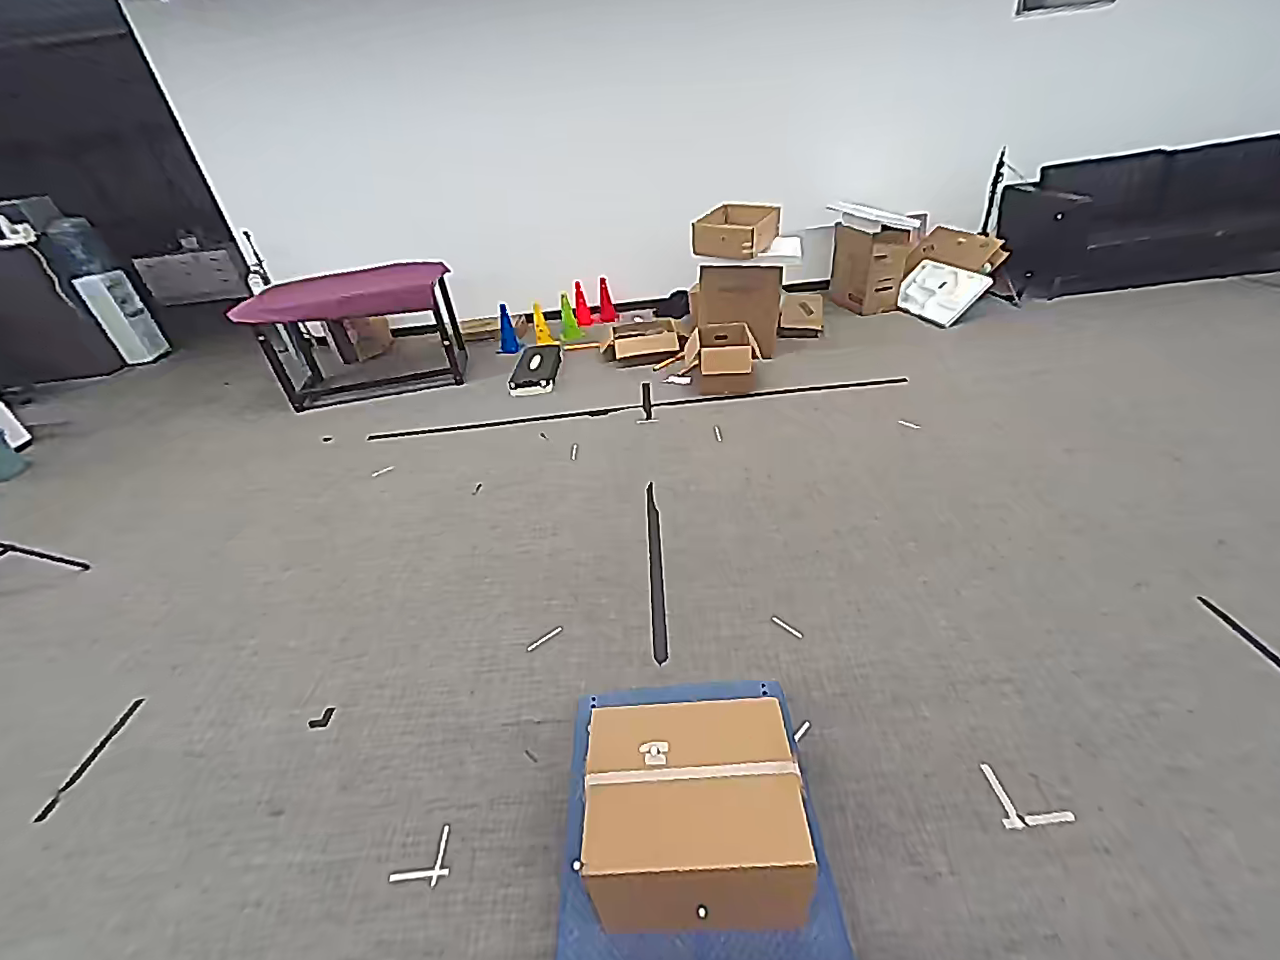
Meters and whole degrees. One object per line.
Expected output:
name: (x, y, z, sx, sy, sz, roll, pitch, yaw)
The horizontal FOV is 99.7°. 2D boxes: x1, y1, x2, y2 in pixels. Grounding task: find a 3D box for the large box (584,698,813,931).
large box: (0.115, 0.700, 1.136, 0.408, 0.320, 0.320, -6, 34, 3)
